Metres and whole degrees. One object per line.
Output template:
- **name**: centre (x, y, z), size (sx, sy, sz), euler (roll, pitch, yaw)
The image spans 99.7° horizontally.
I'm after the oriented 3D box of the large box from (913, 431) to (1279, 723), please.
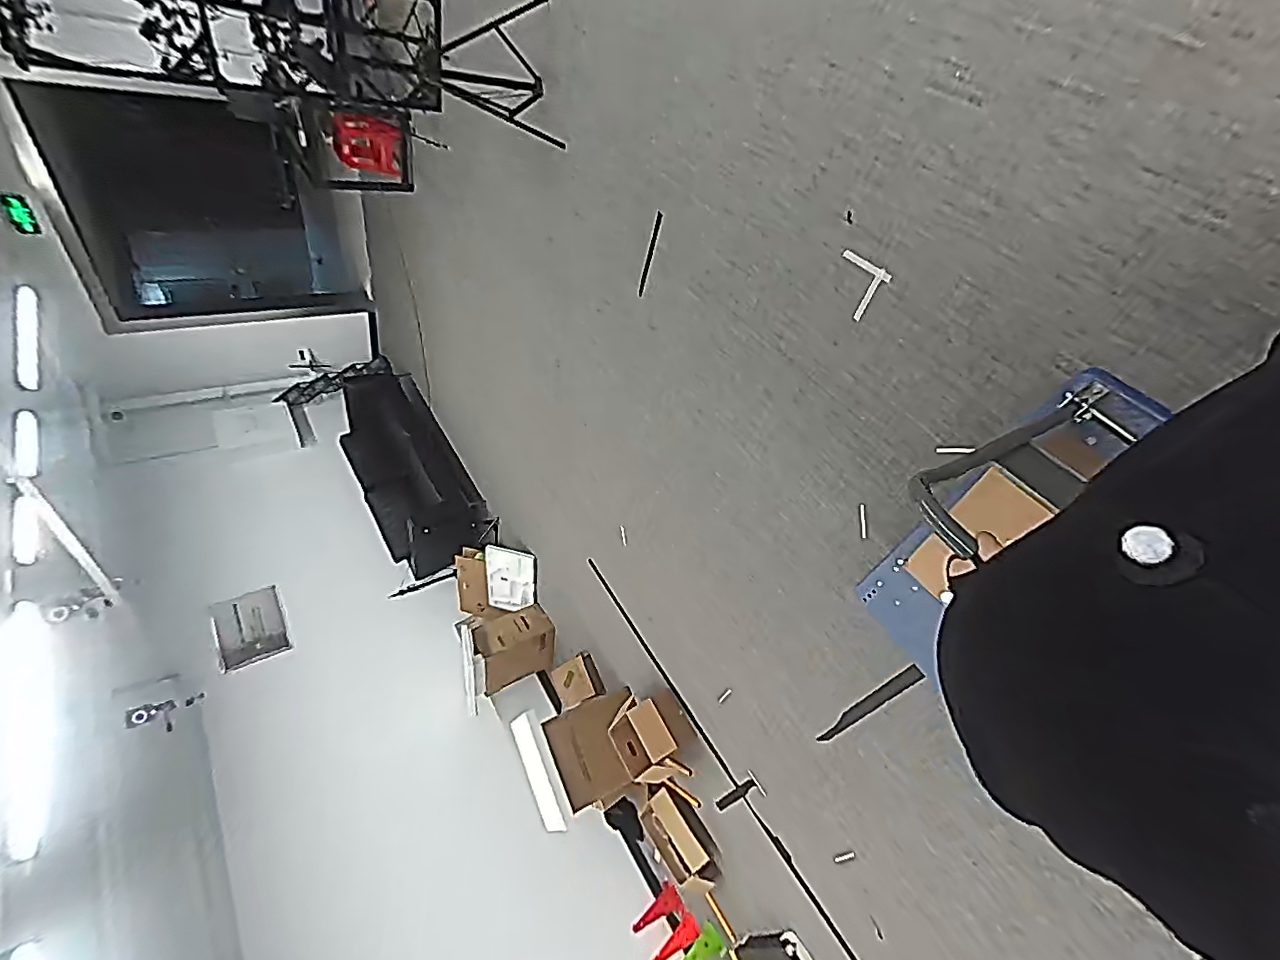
- **large box**: centre (0.851, 0.165, 1.046), size (0.408, 0.320, 0.320), euler (51, 141, 32)
